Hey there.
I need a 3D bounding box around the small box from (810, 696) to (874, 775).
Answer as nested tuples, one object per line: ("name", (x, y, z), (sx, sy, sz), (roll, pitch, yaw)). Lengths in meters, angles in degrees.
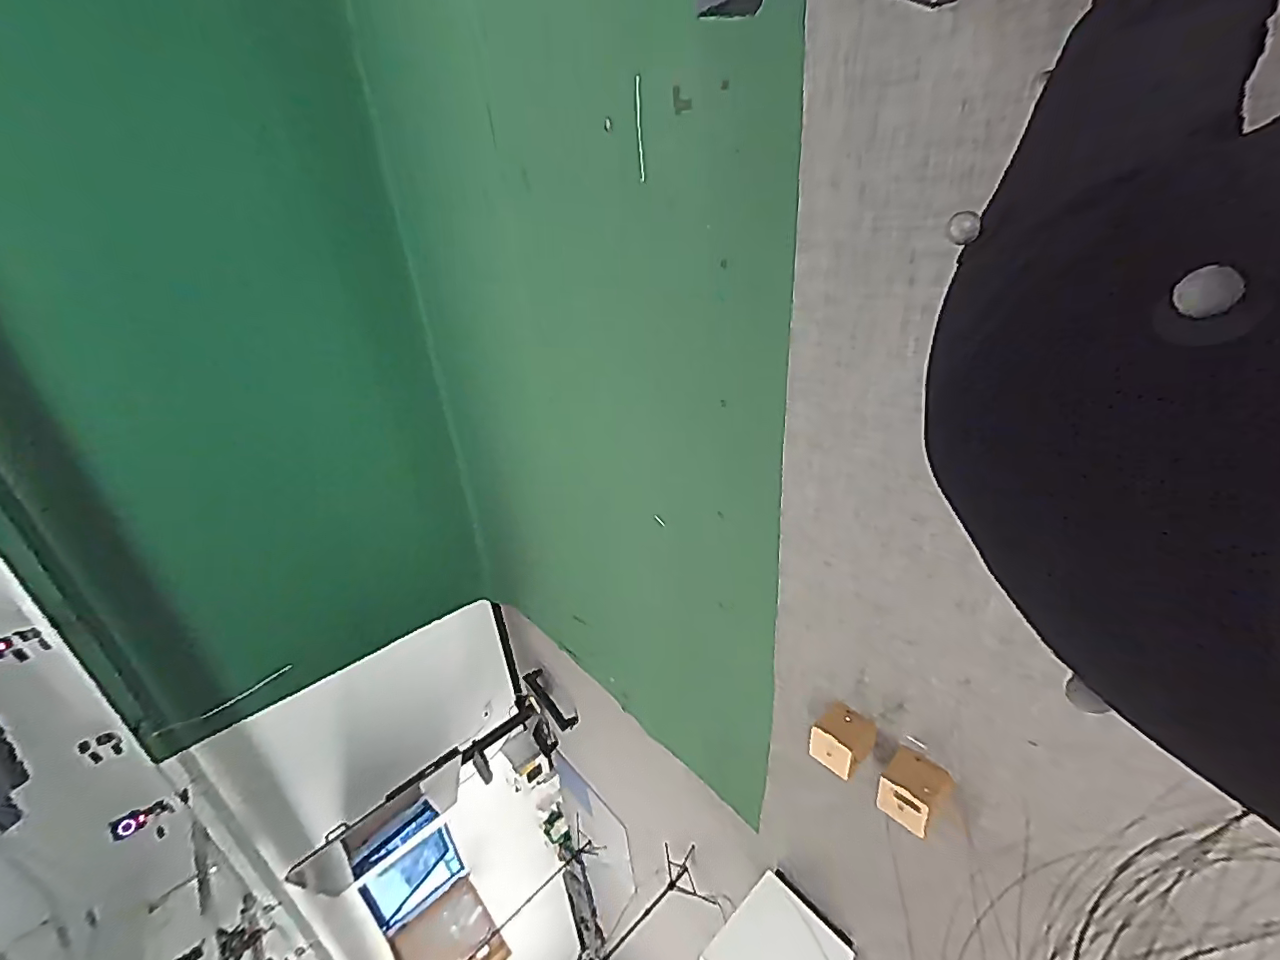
("small box", (0.786, 0.988, 2.102), (0.168, 0.176, 0.179), (25, 129, 43))
